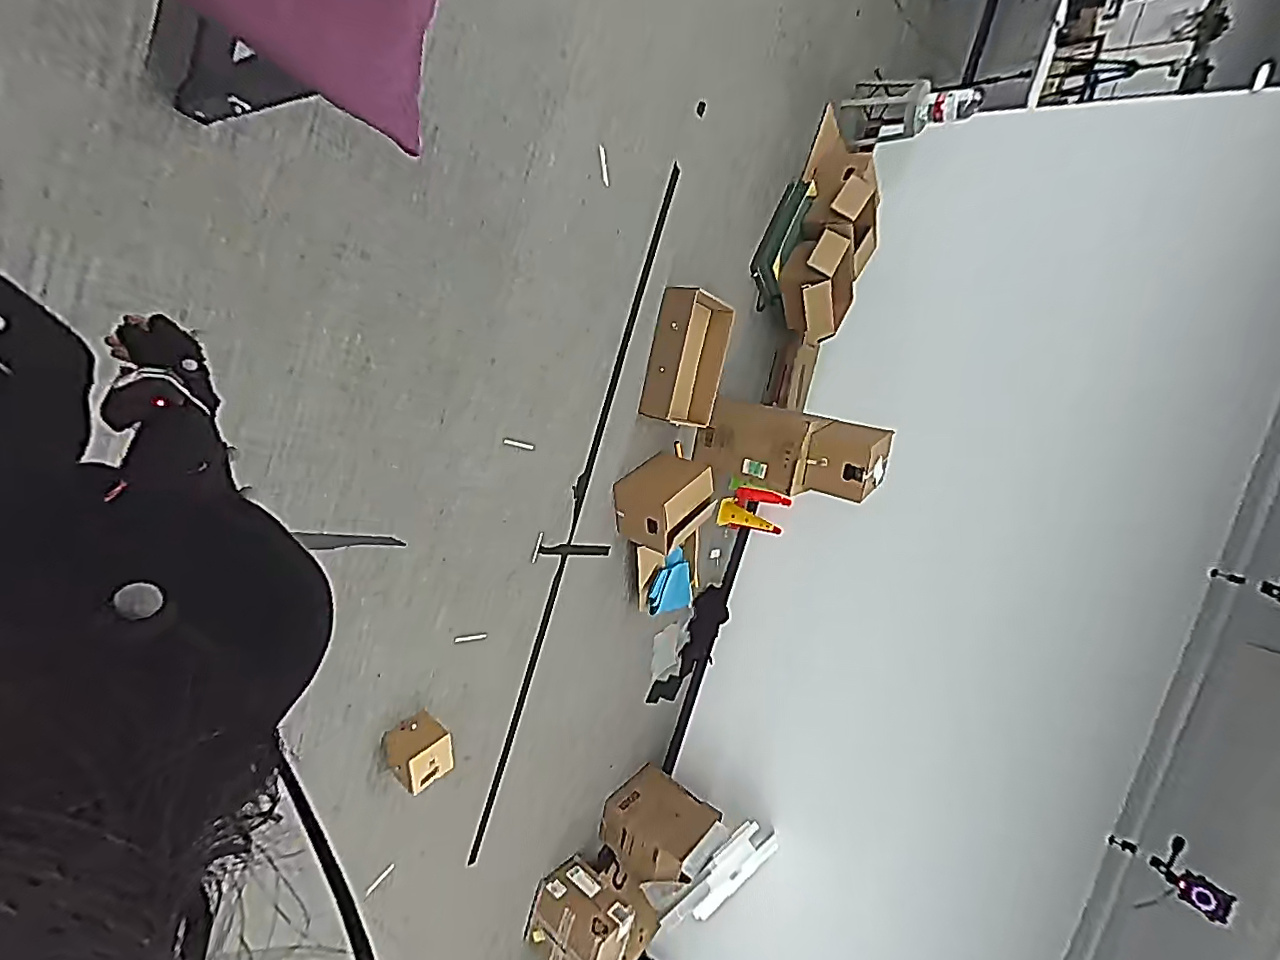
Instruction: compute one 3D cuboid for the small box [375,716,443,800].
[{"bbox_3d":[-0.840,1.004,1.968,0.168,0.176,0.179,-23,124,-49],"label":"small box"}]
